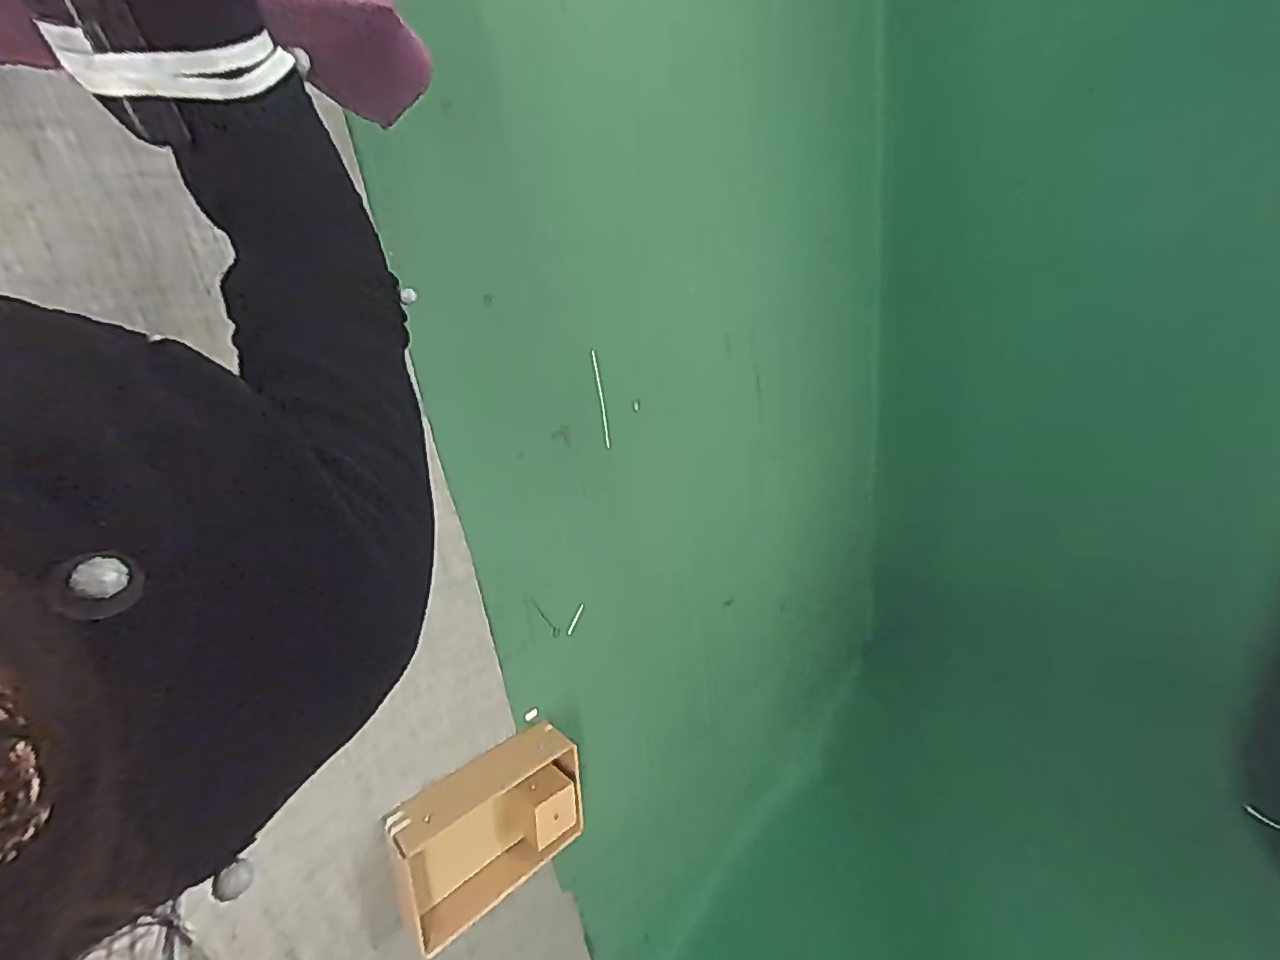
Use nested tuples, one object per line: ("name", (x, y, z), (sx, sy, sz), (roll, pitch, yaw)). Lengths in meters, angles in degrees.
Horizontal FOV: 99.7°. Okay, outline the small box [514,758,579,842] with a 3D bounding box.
("small box", (-0.338, 1.135, 1.943), (0.168, 0.176, 0.179), (-14, 109, -42))
